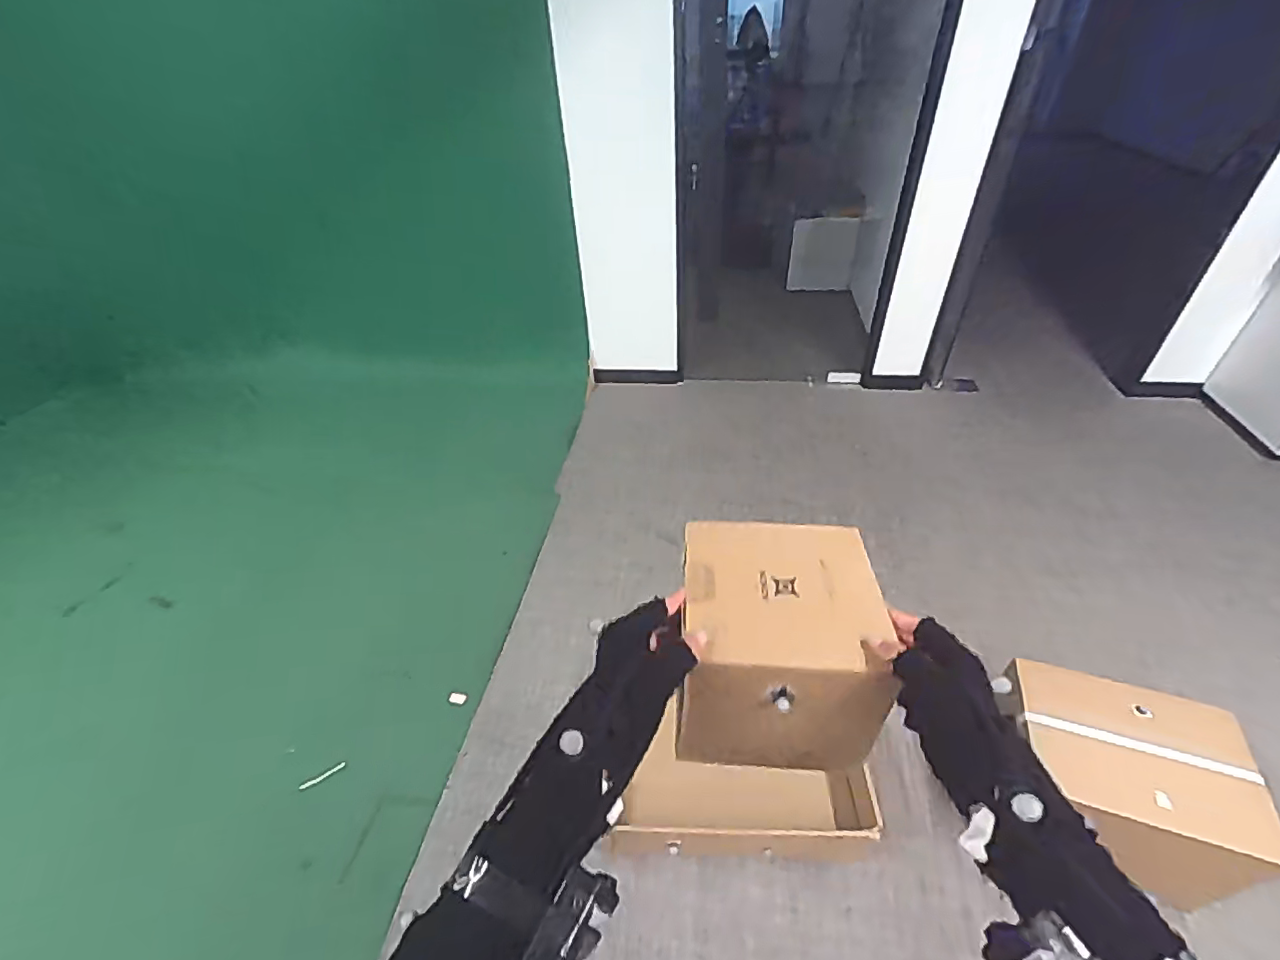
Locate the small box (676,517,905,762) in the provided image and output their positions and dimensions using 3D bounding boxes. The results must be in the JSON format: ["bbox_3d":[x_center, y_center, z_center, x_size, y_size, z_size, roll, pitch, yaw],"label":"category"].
[{"bbox_3d":[0.126,0.155,0.533,0.179,0.176,0.168,3,38,3],"label":"small box"}]
